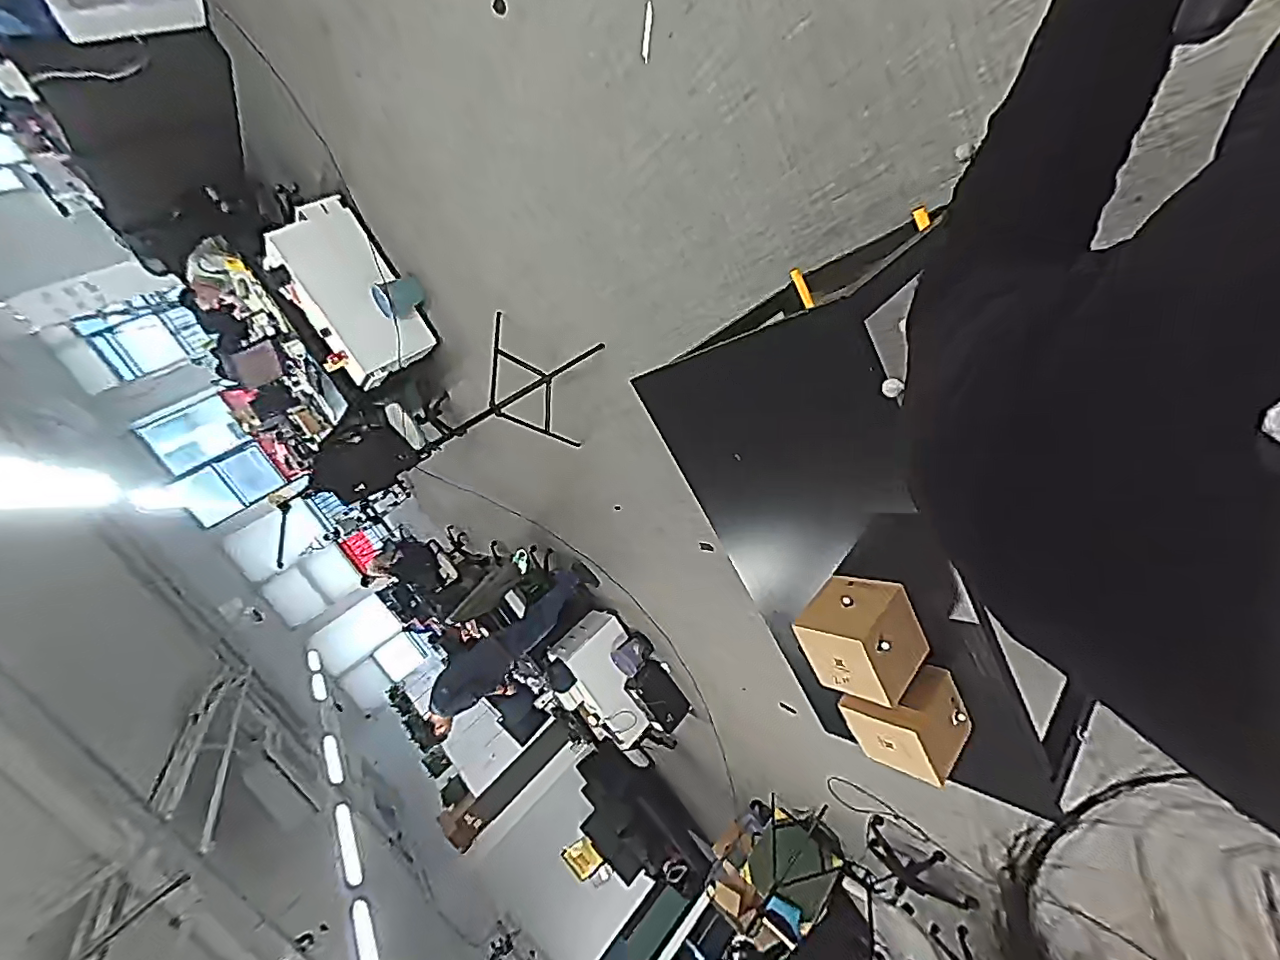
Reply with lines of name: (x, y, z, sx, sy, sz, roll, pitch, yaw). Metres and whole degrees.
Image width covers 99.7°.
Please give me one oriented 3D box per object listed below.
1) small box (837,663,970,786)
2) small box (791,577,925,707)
small box: (0.565, 0.502, 1.161, 0.179, 0.176, 0.168, -6, 120, 56)
small box: (0.450, 0.321, 1.112, 0.168, 0.176, 0.179, -3, 122, 57)
